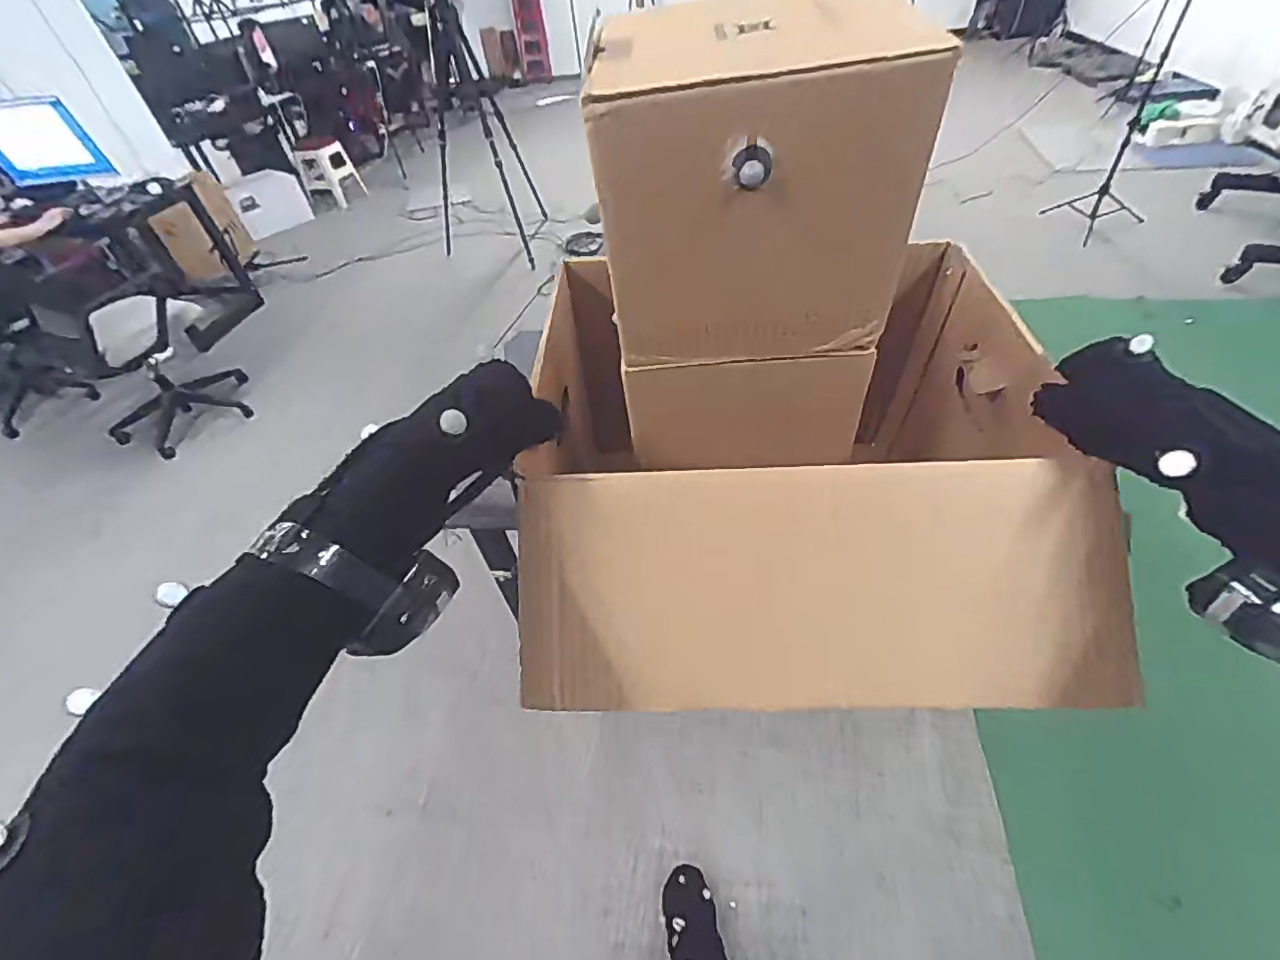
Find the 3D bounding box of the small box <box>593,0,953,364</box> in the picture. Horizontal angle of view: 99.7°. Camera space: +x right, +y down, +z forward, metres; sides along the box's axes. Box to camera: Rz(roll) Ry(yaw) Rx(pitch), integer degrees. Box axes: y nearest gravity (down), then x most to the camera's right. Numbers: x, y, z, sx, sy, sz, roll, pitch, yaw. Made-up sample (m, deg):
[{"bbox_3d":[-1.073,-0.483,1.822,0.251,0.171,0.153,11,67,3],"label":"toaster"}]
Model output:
[{"bbox_3d":[0.072,-0.196,0.371,0.179,0.176,0.168,-3,51,5],"label":"small box"}]
